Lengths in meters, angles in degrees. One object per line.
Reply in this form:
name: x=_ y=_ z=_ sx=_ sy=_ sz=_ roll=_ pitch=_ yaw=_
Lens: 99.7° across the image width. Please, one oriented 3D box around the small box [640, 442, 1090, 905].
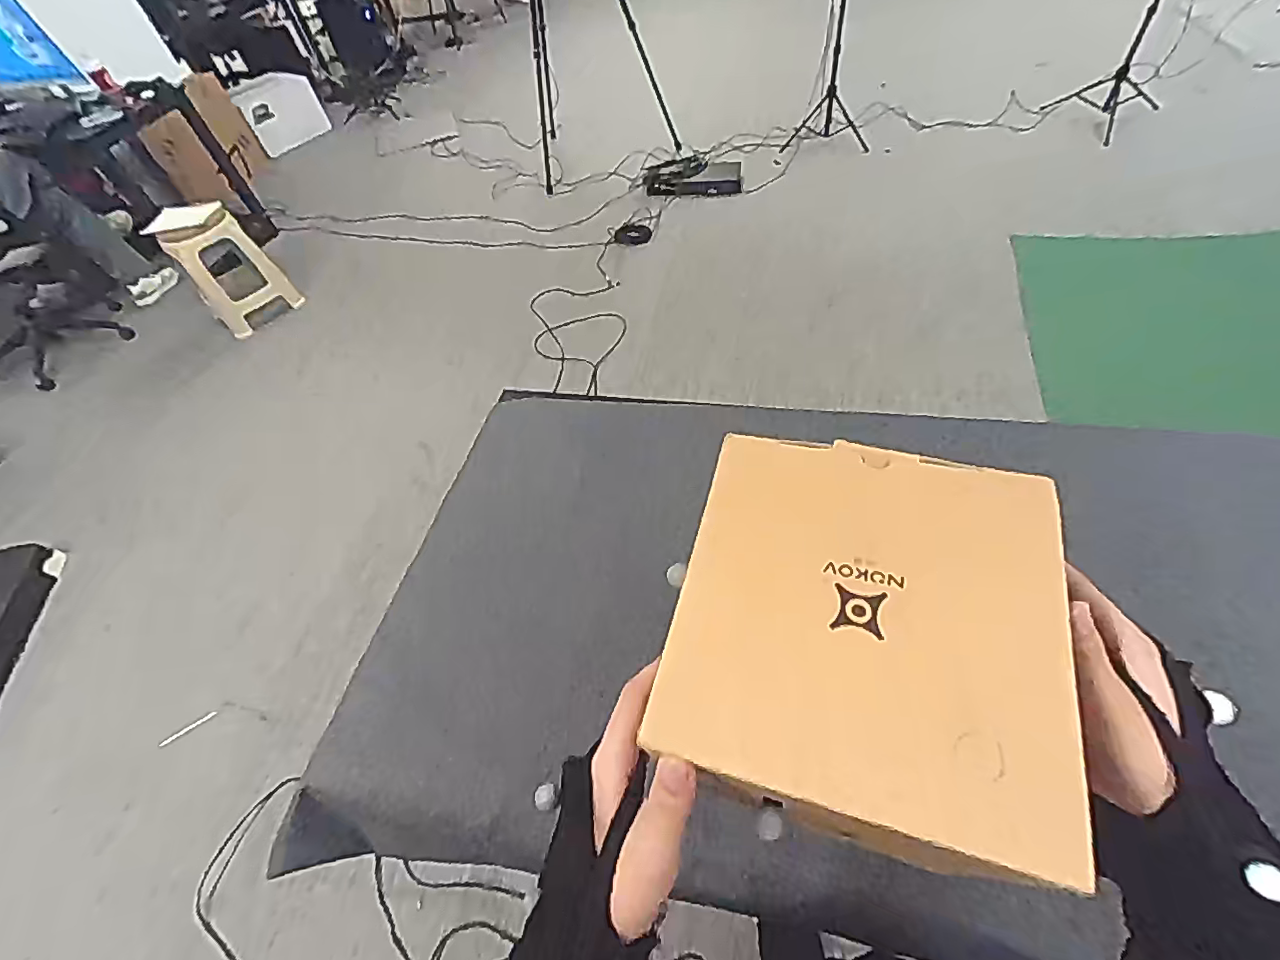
small box: x=0.115 y=0.105 z=0.311 sx=0.168 sy=0.176 sz=0.179 roll=9 pitch=57 yaw=18
